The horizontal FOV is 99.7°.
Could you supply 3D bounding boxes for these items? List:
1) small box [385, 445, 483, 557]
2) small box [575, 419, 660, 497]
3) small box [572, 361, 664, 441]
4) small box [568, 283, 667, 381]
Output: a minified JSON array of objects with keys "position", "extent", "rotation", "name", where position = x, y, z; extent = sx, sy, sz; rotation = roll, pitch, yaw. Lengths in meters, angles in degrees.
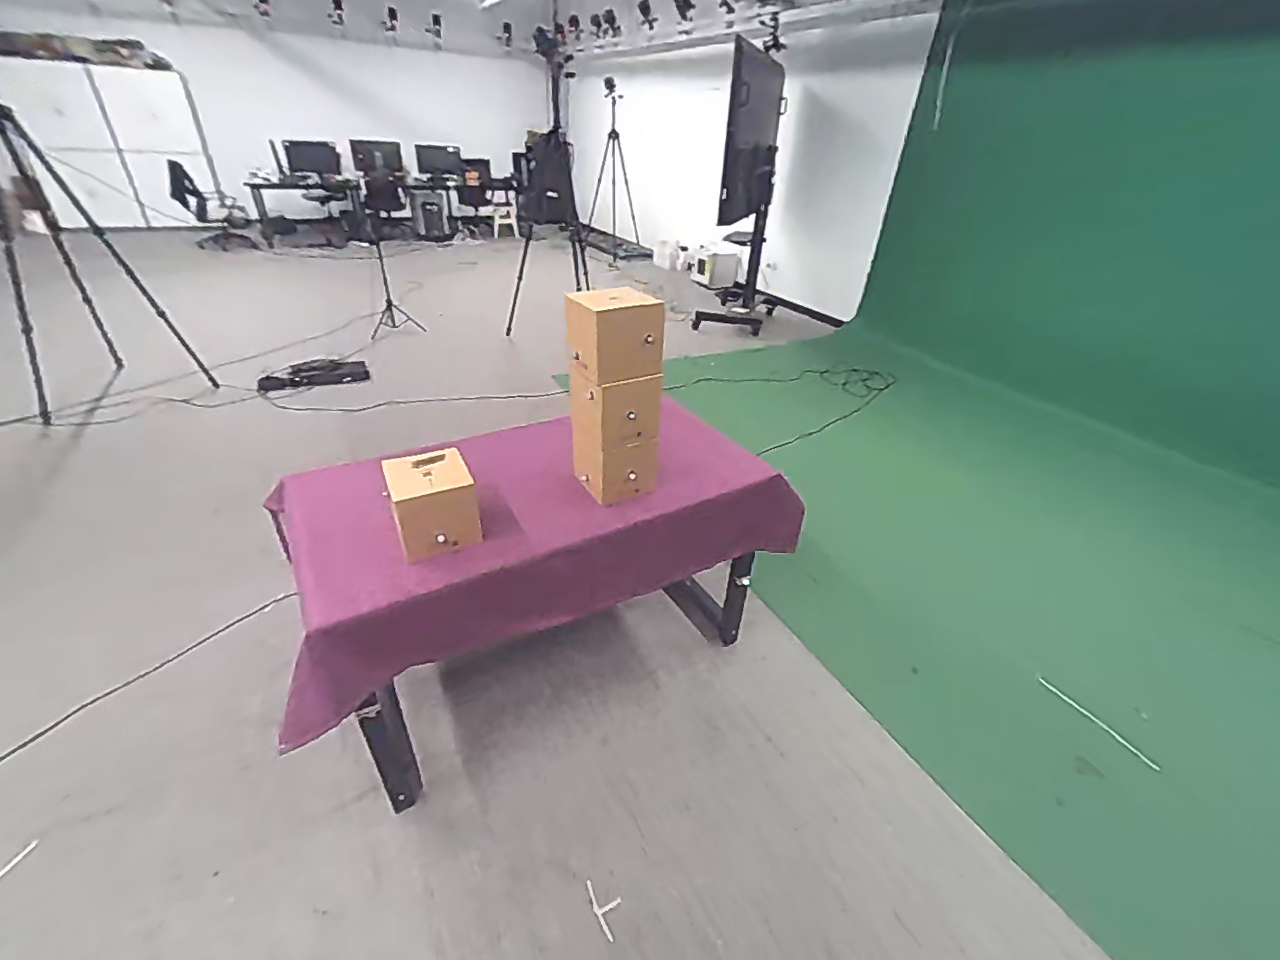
[{"position":[-0.464,0.044,1.221],"extent":[0.168,0.176,0.179],"rotation":[-15,38,-25],"name":"small box"},{"position":[-0.062,-0.070,1.431],"extent":[0.168,0.176,0.179],"rotation":[-15,38,-26],"name":"small box"},{"position":[-0.058,-0.207,1.338],"extent":[0.168,0.176,0.179],"rotation":[-16,37,-27],"name":"small box"},{"position":[-0.056,-0.345,1.251],"extent":[0.179,0.176,0.168],"rotation":[-17,37,-26],"name":"small box"}]
